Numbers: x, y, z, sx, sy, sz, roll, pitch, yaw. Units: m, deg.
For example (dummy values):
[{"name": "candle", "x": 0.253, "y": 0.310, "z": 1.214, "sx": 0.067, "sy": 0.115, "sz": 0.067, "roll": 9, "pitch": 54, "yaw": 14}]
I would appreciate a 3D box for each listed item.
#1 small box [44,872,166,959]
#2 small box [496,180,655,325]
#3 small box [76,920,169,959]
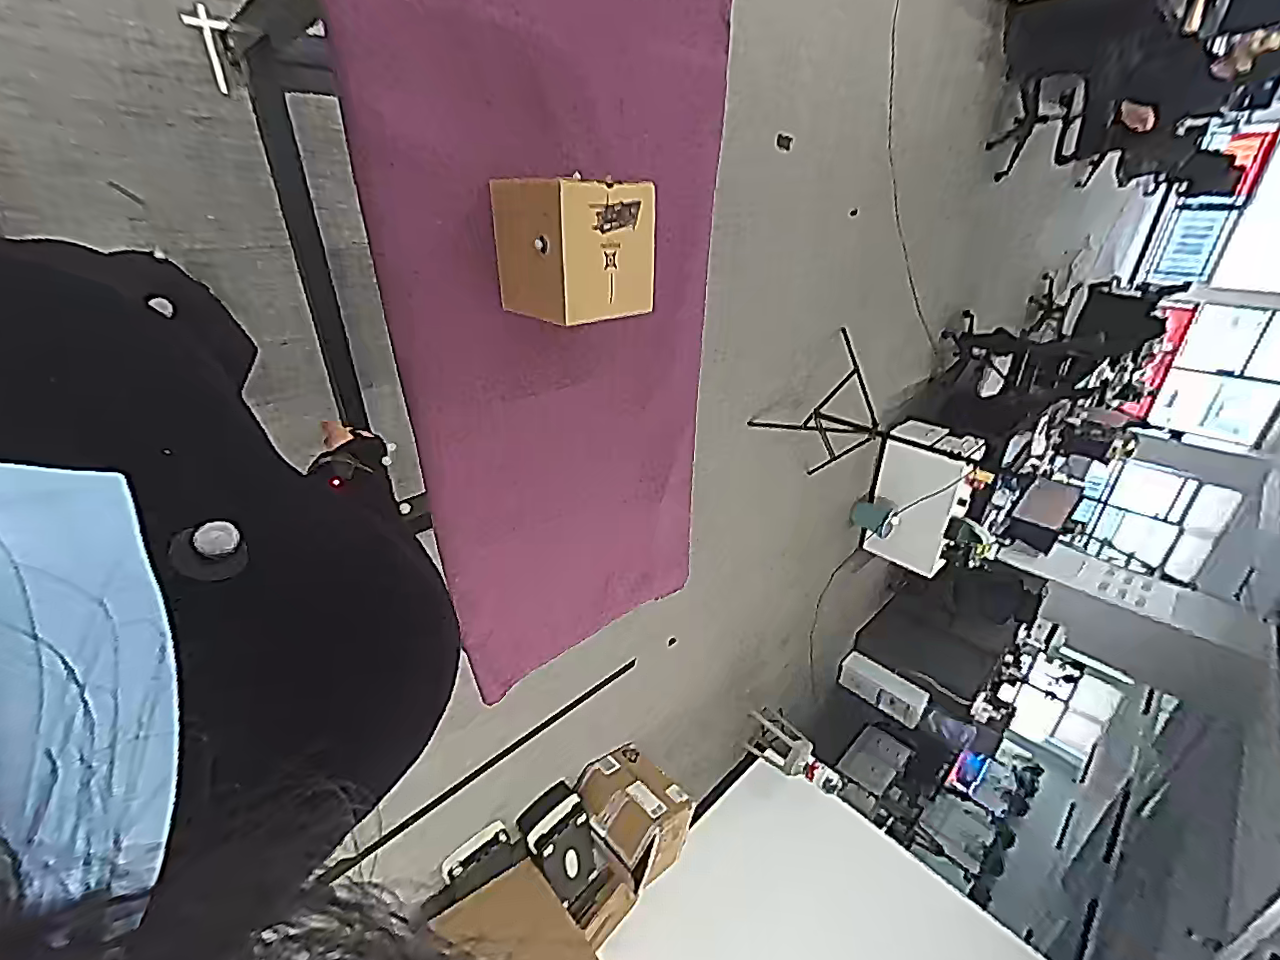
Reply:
[{"name": "small box", "x": -1.309, "y": 1.114, "z": 1.324, "sx": 0.168, "sy": 0.176, "sz": 0.179, "roll": -26, "pitch": 128, "yaw": -36}, {"name": "small box", "x": -0.096, "y": -0.337, "z": 0.795, "sx": 0.168, "sy": 0.176, "sz": 0.179, "roll": -23, "pitch": 126, "yaw": -38}, {"name": "small box", "x": -1.195, "y": 1.167, "z": 1.221, "sx": 0.179, "sy": 0.176, "sz": 0.168, "roll": -27, "pitch": 128, "yaw": -36}]
